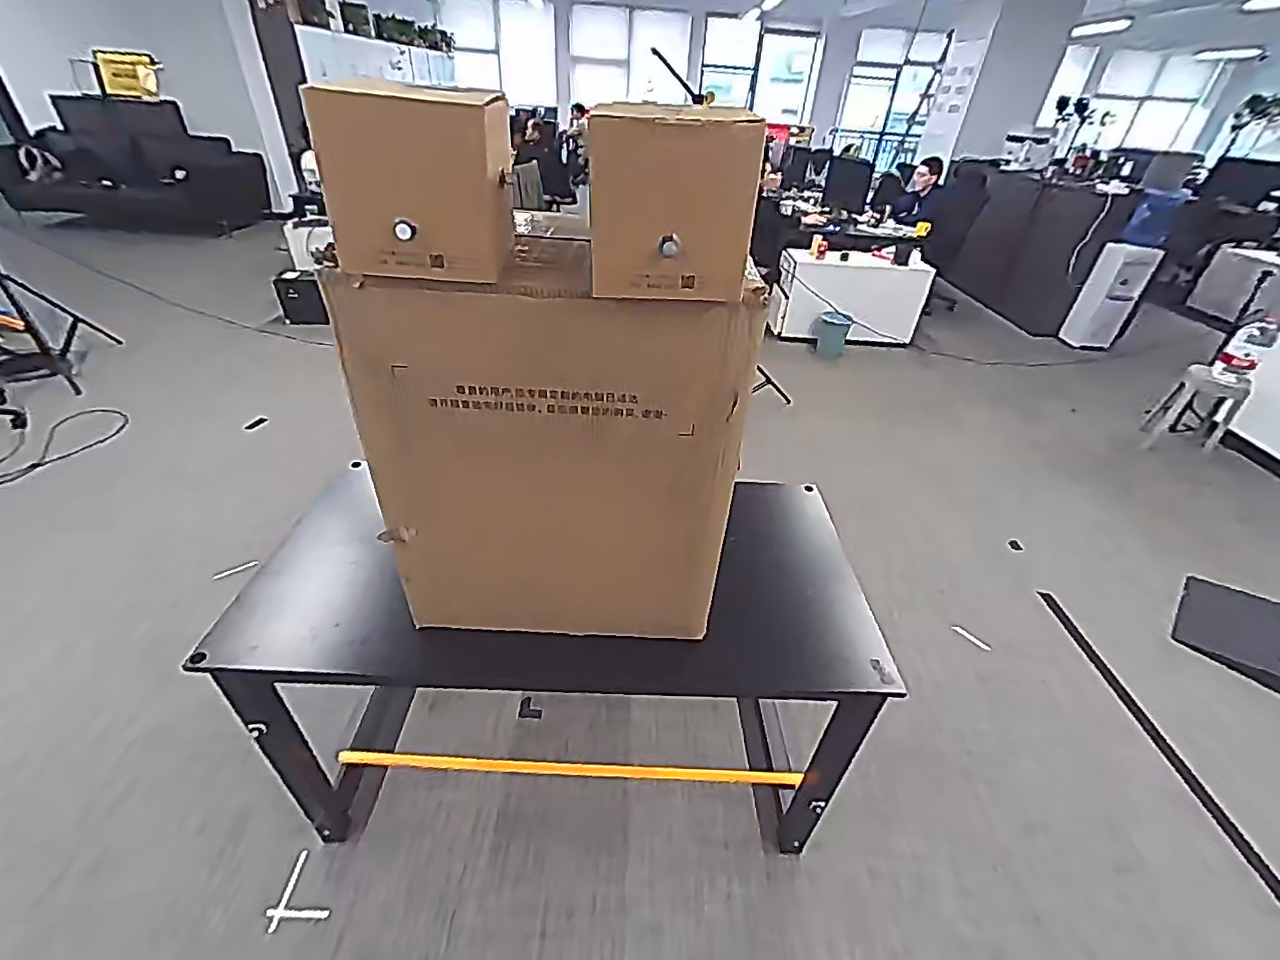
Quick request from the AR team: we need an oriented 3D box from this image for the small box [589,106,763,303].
[{"bbox_3d":[0.031,-0.314,0.612,0.168,0.176,0.179,1,38,-1],"label":"small box"}]
